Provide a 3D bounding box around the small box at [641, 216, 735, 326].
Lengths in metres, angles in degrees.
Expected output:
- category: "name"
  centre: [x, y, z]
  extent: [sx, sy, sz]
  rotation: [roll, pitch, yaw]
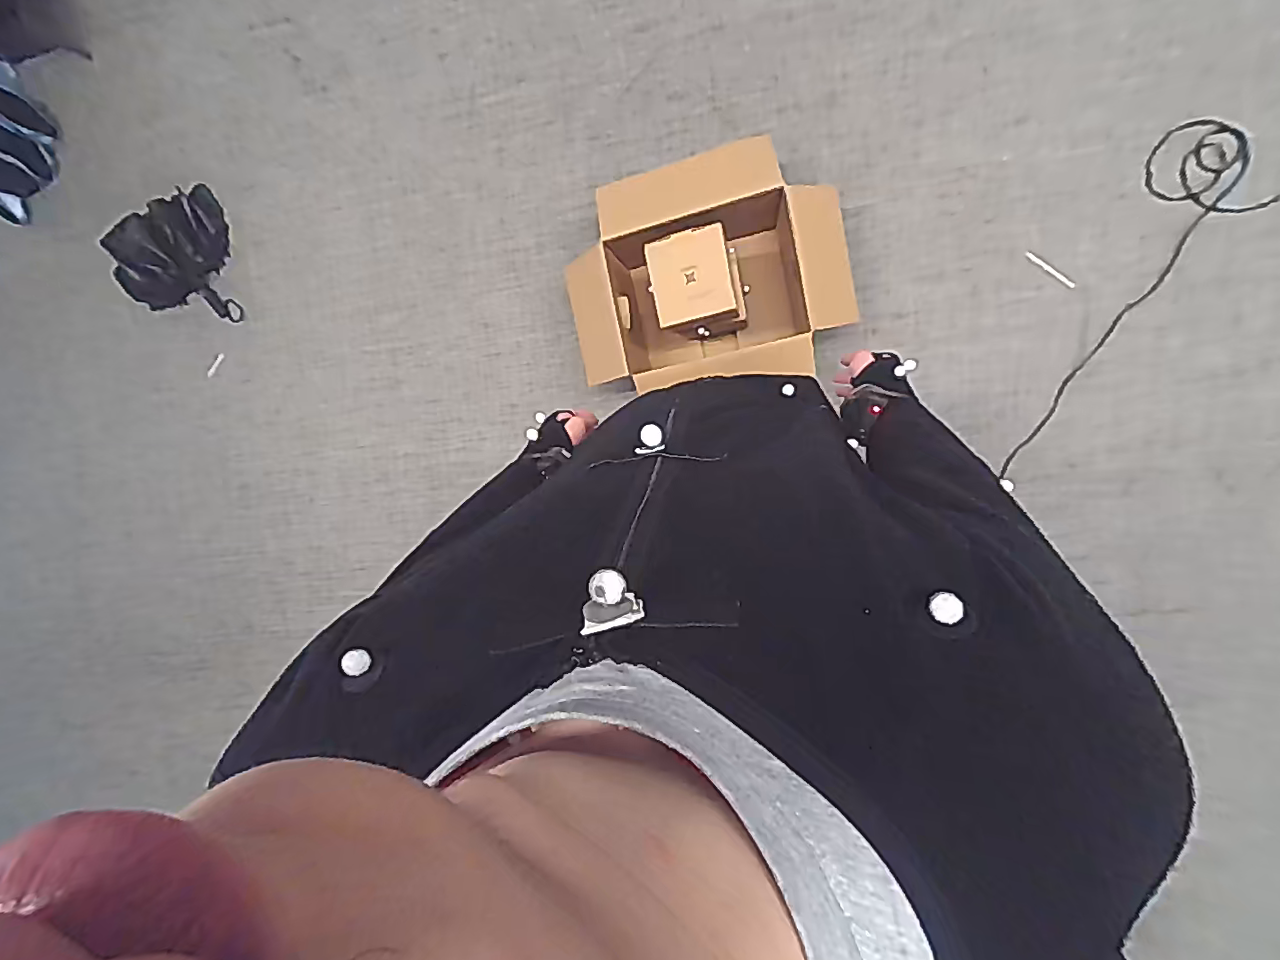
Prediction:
- category: "small box"
  centre: [0.112, -0.451, 1.196]
  extent: [0.168, 0.176, 0.179]
  rotation: [-10, 99, 15]
